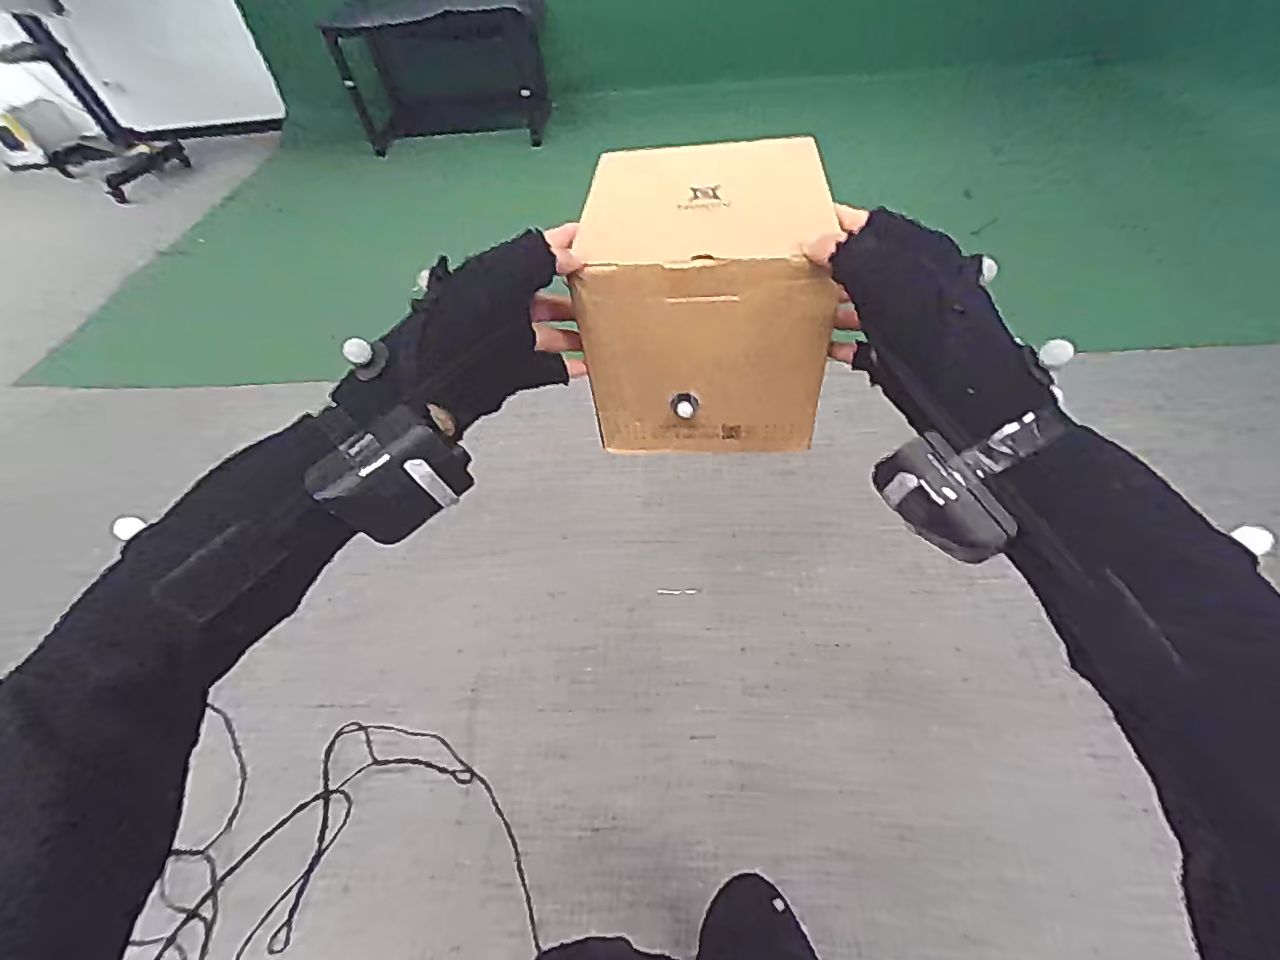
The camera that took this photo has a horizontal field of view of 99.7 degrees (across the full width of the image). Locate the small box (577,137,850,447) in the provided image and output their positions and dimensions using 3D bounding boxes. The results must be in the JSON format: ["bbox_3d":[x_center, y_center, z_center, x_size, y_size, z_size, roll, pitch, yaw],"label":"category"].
[{"bbox_3d":[0.055,-0.148,0.434,0.168,0.176,0.179,1,52,7],"label":"small box"}]
